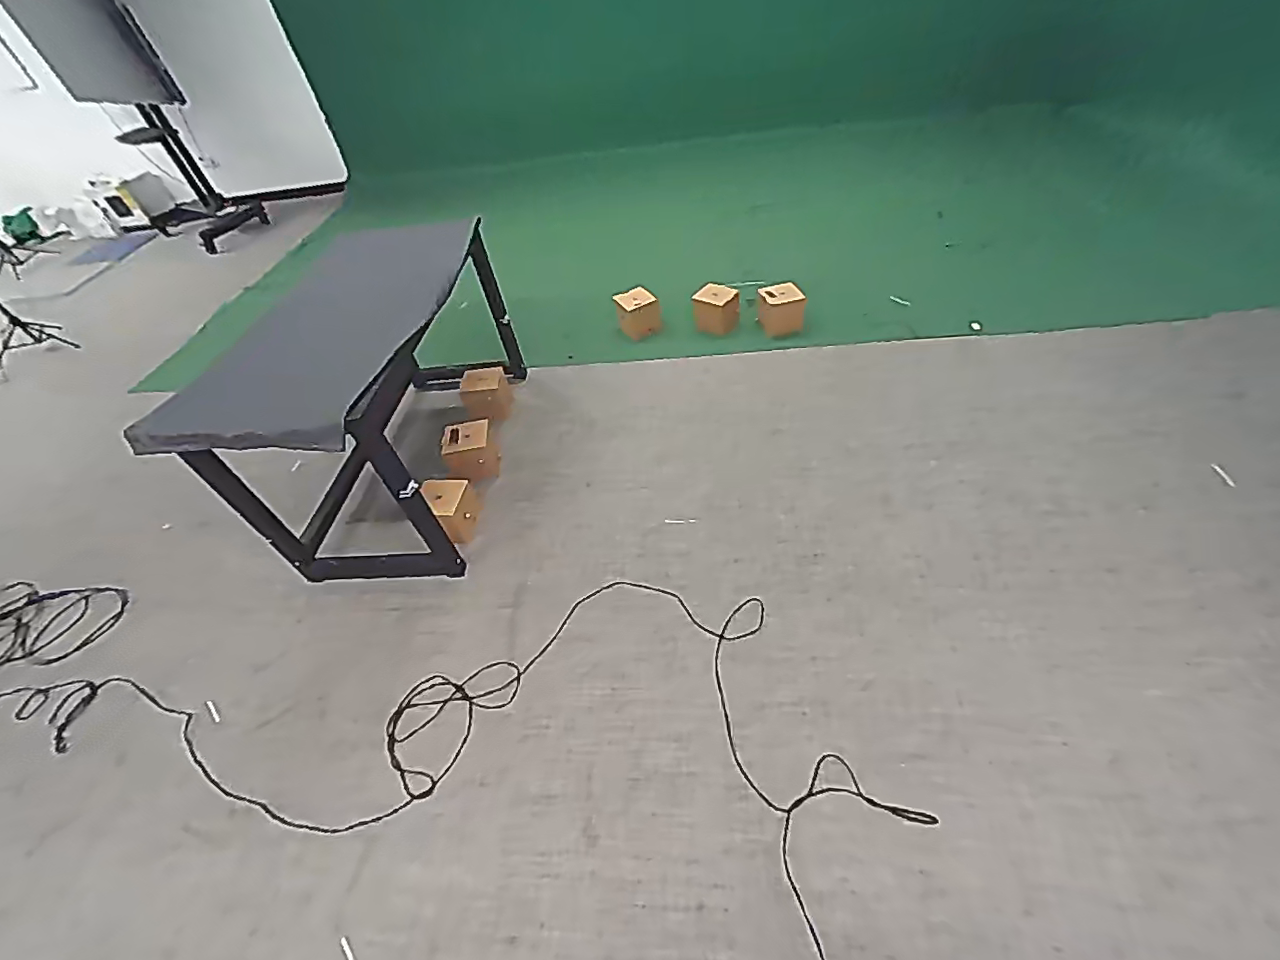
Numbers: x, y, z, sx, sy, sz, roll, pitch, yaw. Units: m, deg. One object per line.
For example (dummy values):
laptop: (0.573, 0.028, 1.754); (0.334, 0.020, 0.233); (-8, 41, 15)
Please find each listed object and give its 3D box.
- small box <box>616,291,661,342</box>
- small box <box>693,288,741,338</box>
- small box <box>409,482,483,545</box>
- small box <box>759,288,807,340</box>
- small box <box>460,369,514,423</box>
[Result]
small box: (-0.006, -0.830, 2.745); (0.168, 0.176, 0.179); (-26, 48, -15)
small box: (0.384, -0.821, 2.670); (0.179, 0.176, 0.168); (25, 55, 30)
small box: (-0.695, 0.123, 1.960); (0.179, 0.176, 0.168); (0, 47, 10)
small box: (0.681, -0.794, 2.595); (0.179, 0.176, 0.168); (-13, 46, -4)
small box: (-0.678, -0.375, 2.422); (0.179, 0.176, 0.168); (-6, 46, 4)
